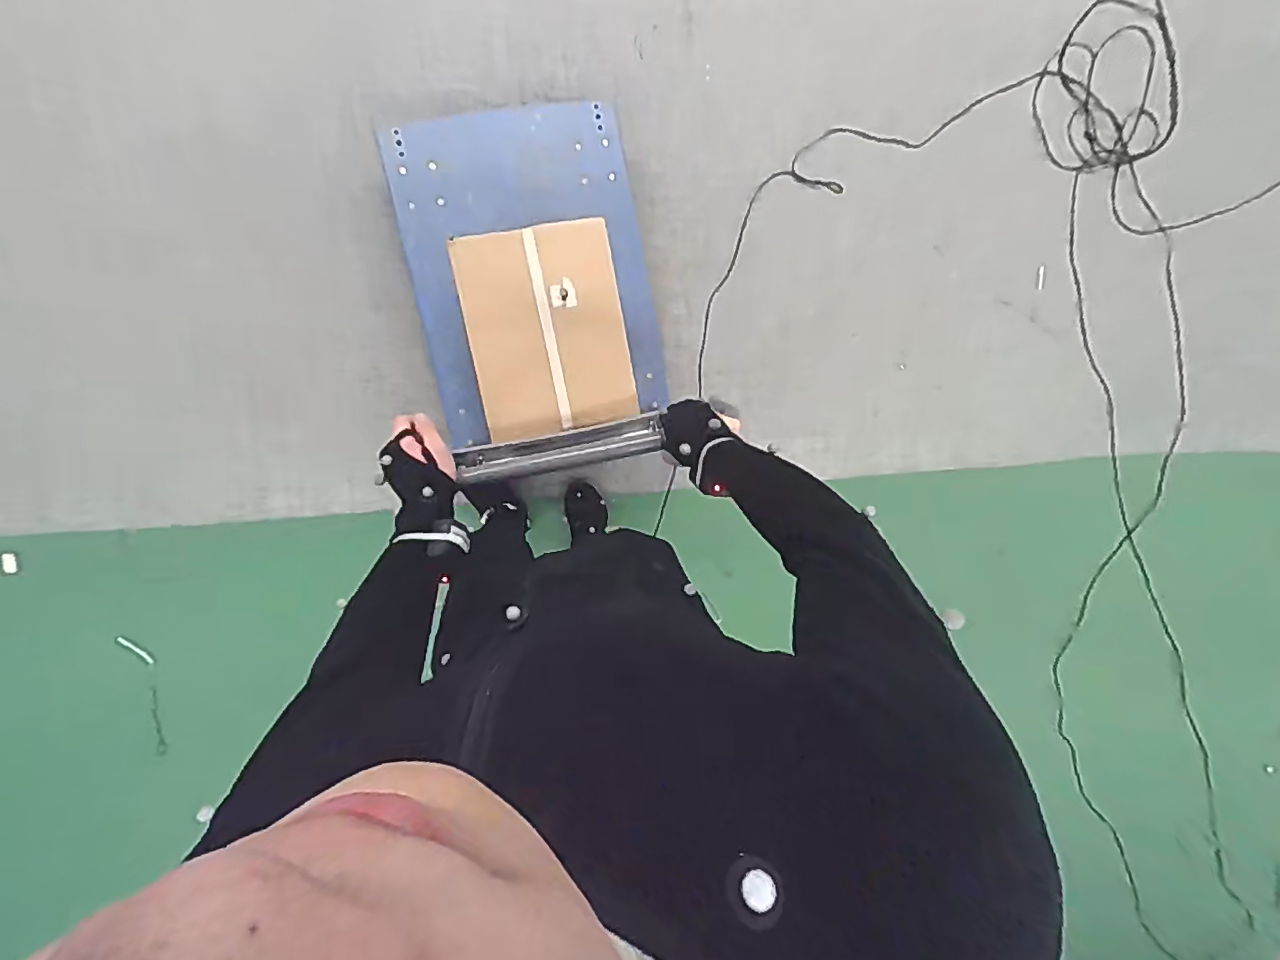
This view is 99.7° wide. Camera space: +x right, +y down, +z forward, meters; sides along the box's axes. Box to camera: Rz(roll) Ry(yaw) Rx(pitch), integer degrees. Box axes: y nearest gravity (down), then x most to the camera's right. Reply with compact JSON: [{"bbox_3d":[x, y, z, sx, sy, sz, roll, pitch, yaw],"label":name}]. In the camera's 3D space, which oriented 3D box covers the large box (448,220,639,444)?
[{"bbox_3d":[-0.206,-0.310,1.231,0.320,0.320,0.408,-12,97,-8],"label":"large box"}]
